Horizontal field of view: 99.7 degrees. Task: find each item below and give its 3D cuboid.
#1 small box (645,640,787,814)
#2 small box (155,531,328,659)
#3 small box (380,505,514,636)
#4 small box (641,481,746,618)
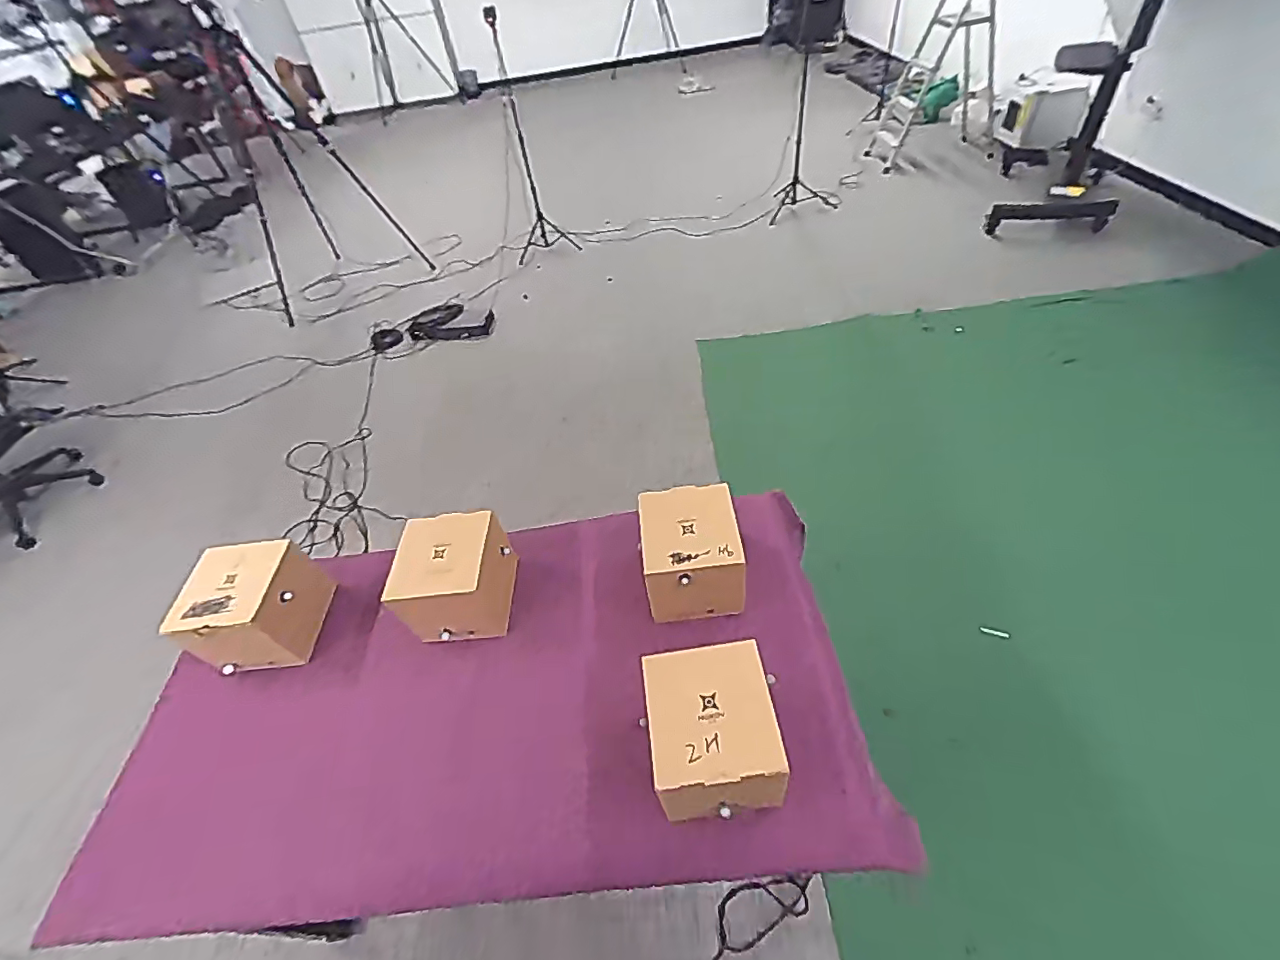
[{"bbox_3d":[0.101,0.353,0.771,0.168,0.176,0.179,-9,48,2],"label":"small box"},{"bbox_3d":[-0.716,0.218,1.001,0.168,0.176,0.179,-6,49,2],"label":"small box"},{"bbox_3d":[-0.341,0.168,0.999,0.168,0.176,0.179,-5,49,4],"label":"small box"},{"bbox_3d":[0.092,0.126,0.975,0.168,0.176,0.179,-7,48,3],"label":"small box"}]
